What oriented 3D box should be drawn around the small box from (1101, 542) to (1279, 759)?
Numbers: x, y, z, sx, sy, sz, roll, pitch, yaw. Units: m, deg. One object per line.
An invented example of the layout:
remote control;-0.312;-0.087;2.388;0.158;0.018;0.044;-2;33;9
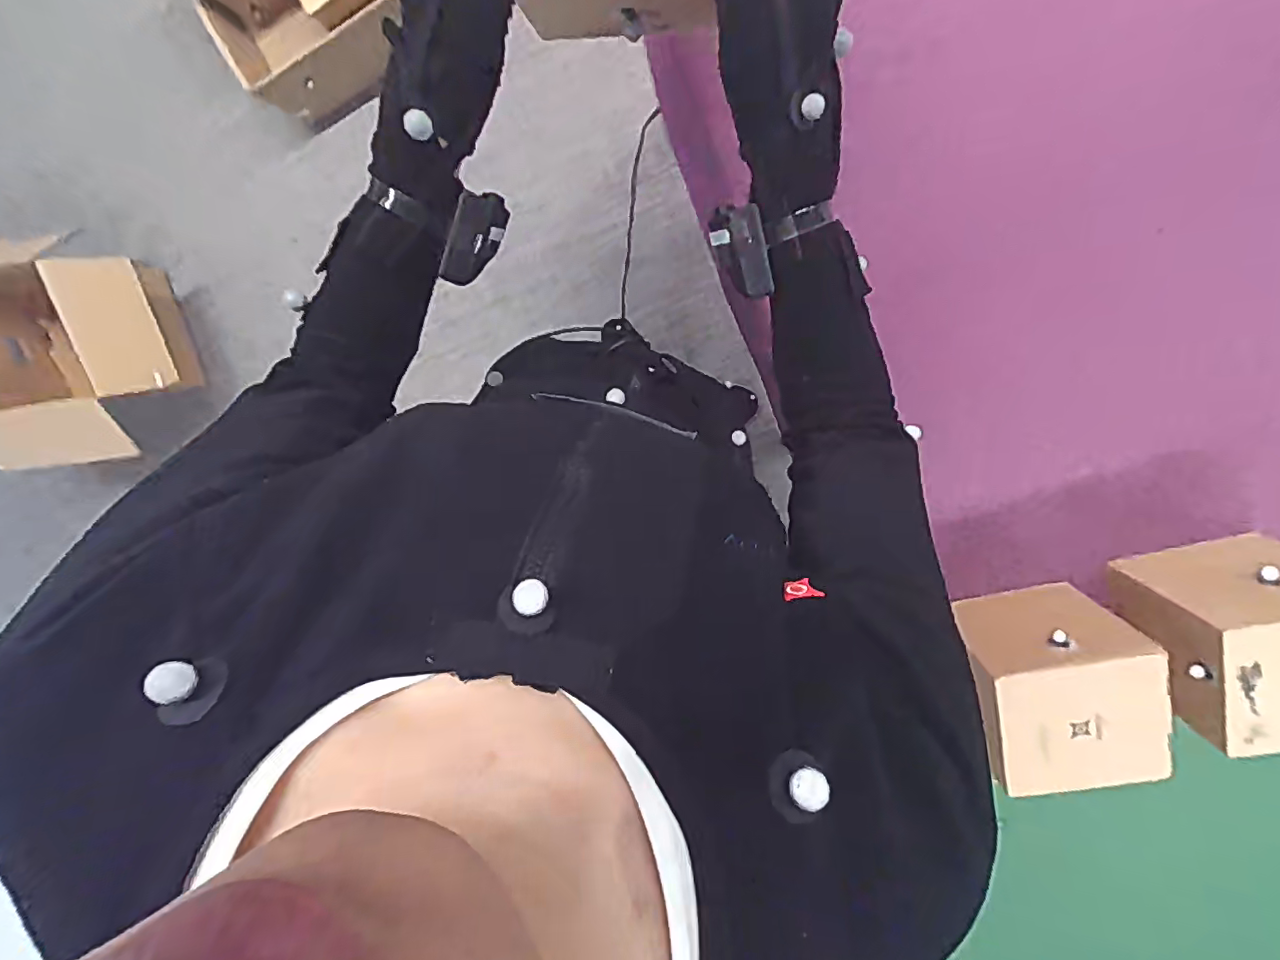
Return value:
small box;0.706;0.190;0.644;0.179;0.176;0.168;-15;104;8
